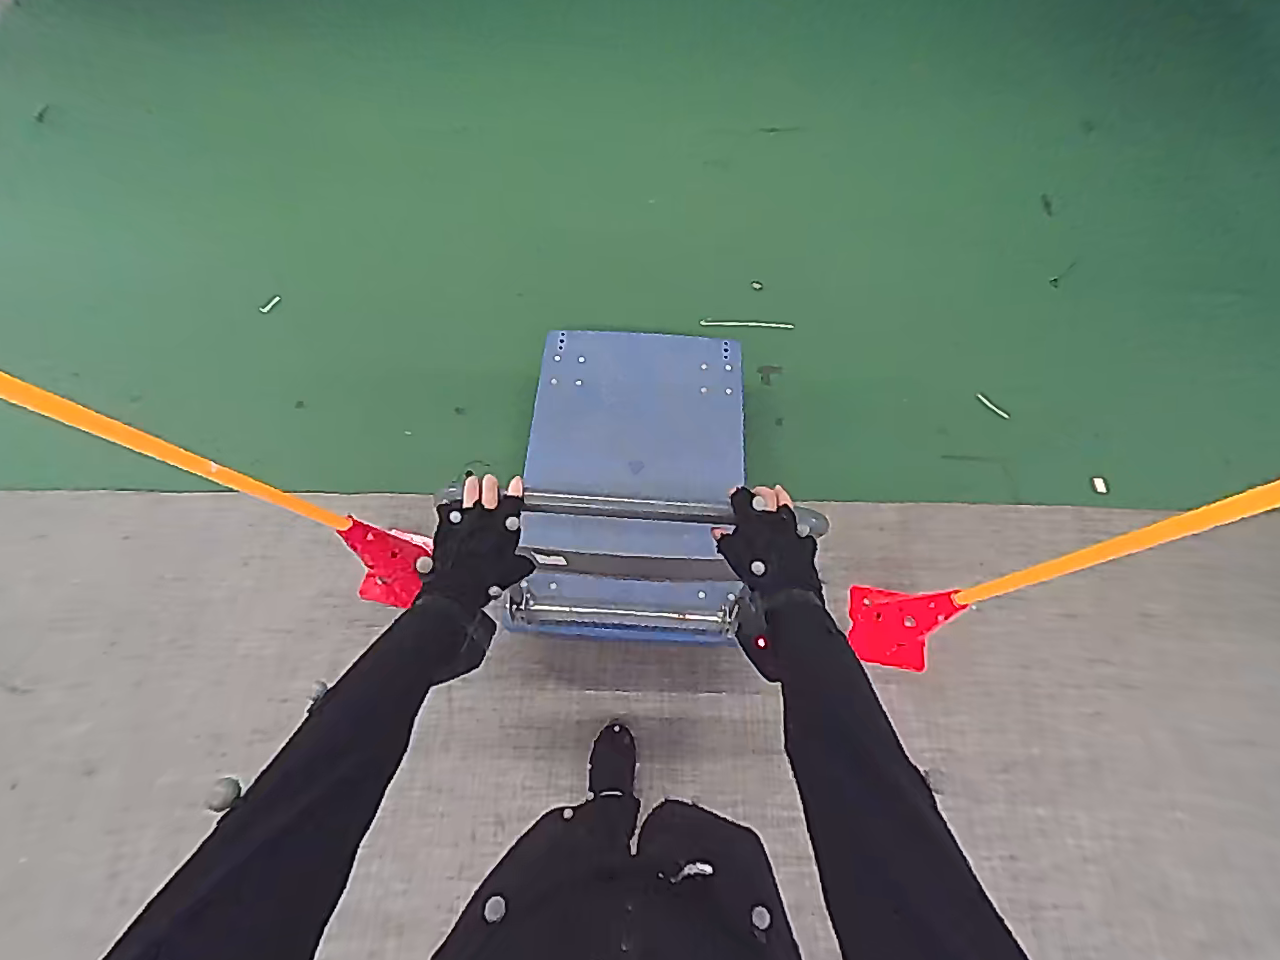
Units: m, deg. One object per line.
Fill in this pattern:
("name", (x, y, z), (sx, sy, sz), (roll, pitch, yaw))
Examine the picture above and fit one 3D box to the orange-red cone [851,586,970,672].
("orange-red cone", (0.655, 0.317, 1.259), (0.198, 0.360, 0.199), (11, 67, 5))
